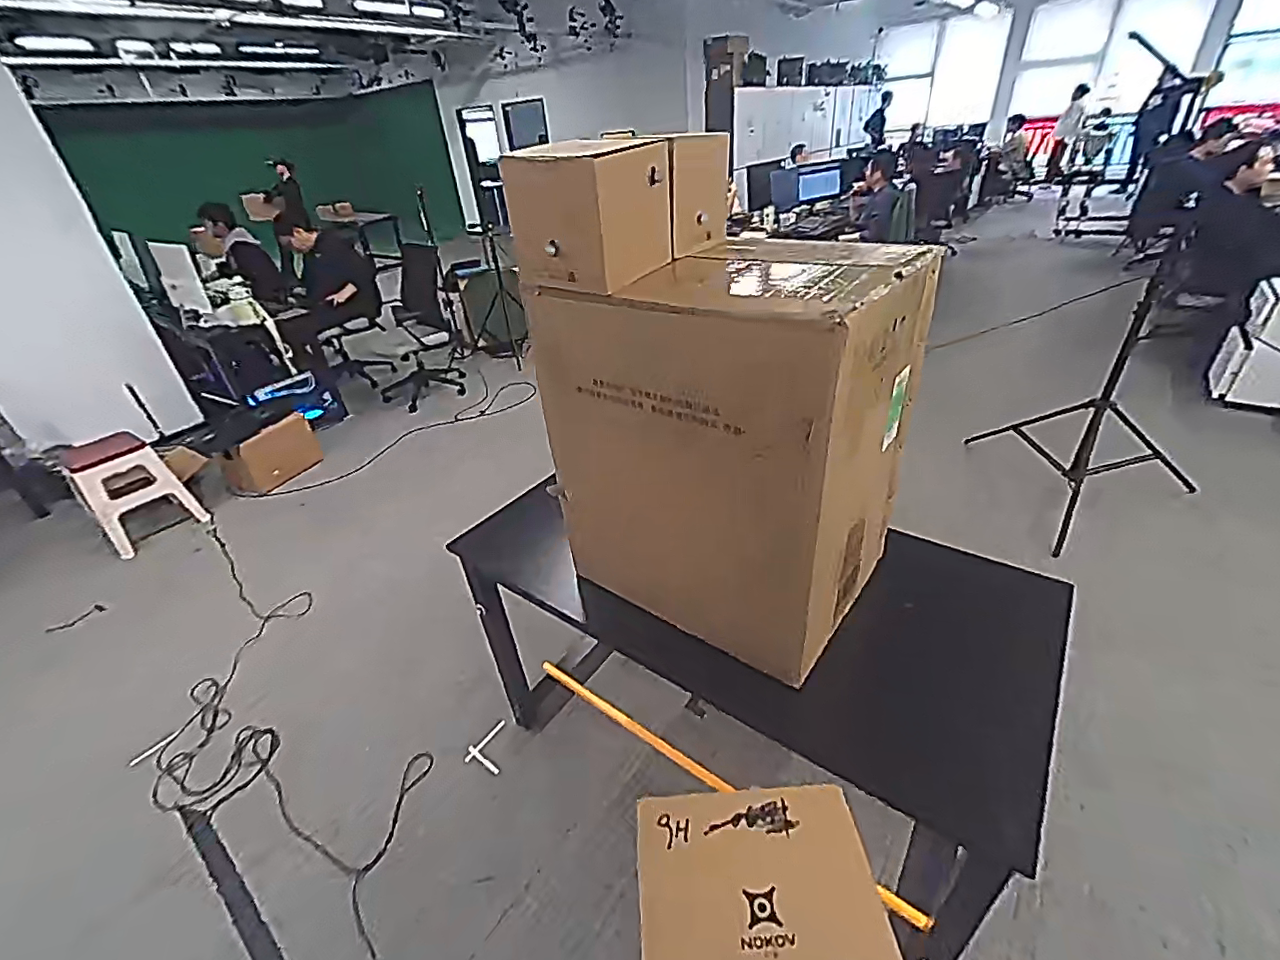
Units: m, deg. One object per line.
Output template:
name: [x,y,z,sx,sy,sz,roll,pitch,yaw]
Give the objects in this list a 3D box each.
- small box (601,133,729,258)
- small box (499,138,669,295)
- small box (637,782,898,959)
small box: [0.030,-0.474,0.901,0.179,0.176,0.168,21,40,32]
small box: [-0.071,-0.384,0.779,0.168,0.176,0.179,18,43,28]
small box: [0.087,0.362,0.406,0.168,0.176,0.179,-4,33,-1]
